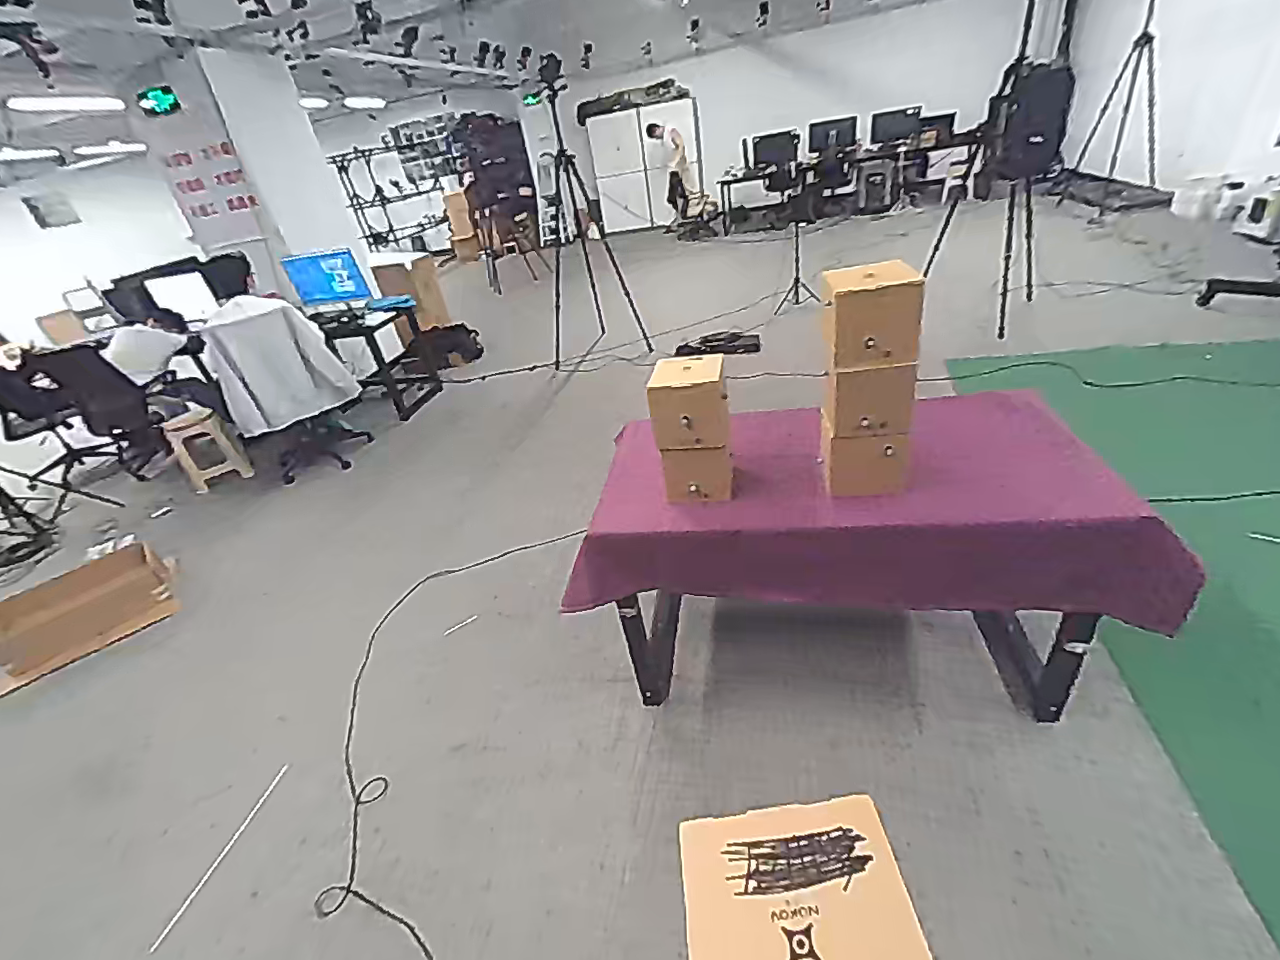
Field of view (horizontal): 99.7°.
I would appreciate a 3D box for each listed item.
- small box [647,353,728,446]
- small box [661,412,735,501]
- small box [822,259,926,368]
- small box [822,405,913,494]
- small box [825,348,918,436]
[{"bbox_3d":[0.125,-0.192,1.318,0.168,0.176,0.179,-1,34,14],"label":"small box"},{"bbox_3d":[0.158,-0.061,1.412,0.168,0.176,0.179,-2,34,14],"label":"small box"},{"bbox_3d":[0.486,-0.354,1.150,0.168,0.176,0.179,-6,34,11],"label":"small box"},{"bbox_3d":[0.545,-0.080,1.316,0.179,0.176,0.168,-3,33,13],"label":"small box"},{"bbox_3d":[0.516,-0.217,1.231,0.168,0.176,0.179,-5,34,13],"label":"small box"}]
